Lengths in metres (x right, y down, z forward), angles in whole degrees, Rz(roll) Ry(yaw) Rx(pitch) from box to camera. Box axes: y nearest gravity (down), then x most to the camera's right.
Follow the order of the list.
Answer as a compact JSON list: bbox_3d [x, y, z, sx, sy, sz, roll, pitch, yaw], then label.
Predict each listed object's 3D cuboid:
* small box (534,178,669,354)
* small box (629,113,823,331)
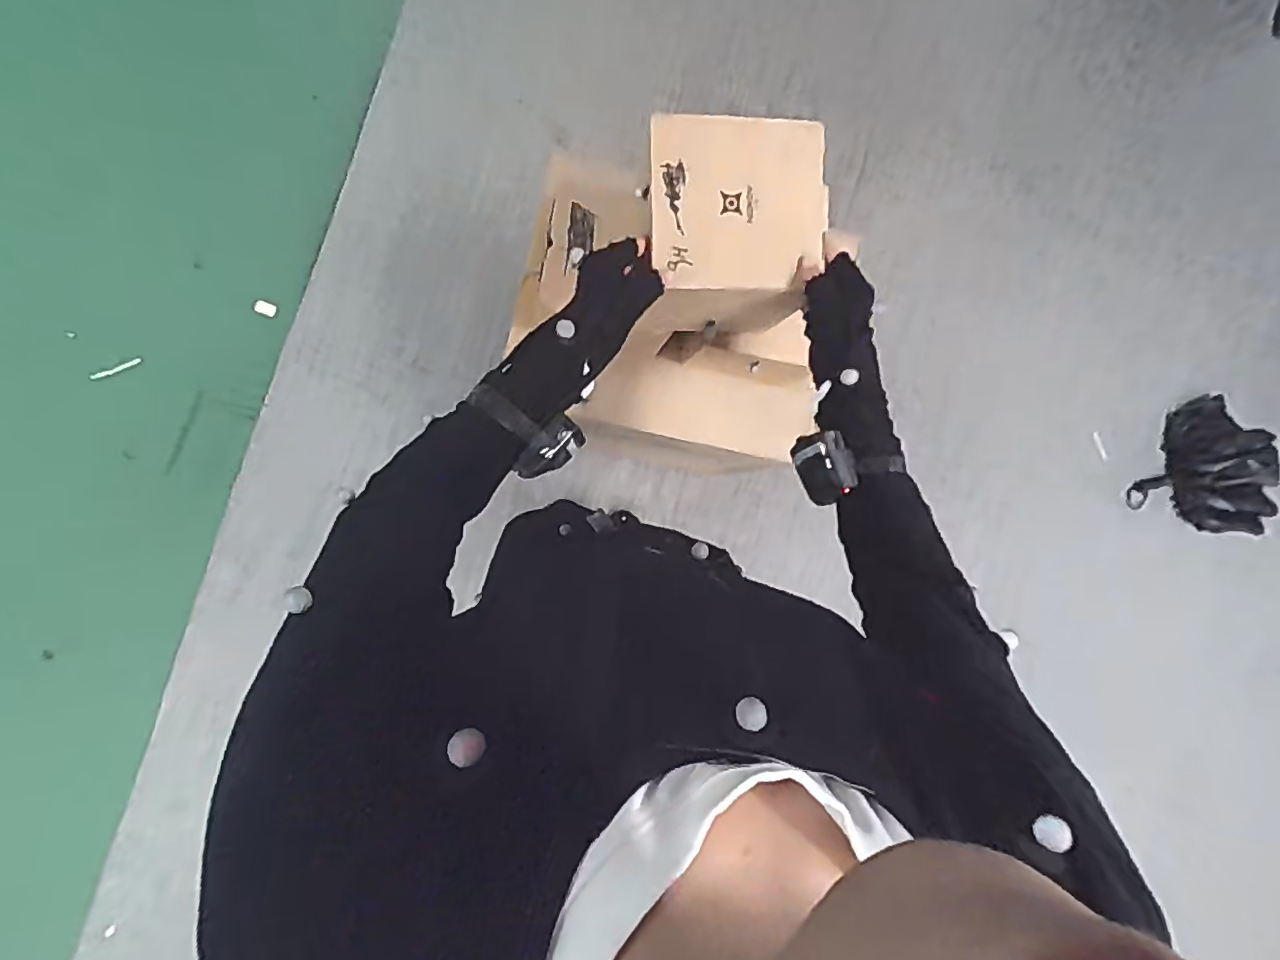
[{"bbox_3d":[-0.042,-0.284,0.759,0.179,0.176,0.168,10,92,-8],"label":"small box"},{"bbox_3d":[0.085,-0.269,0.605,0.179,0.176,0.168,-1,92,-8],"label":"small box"}]
